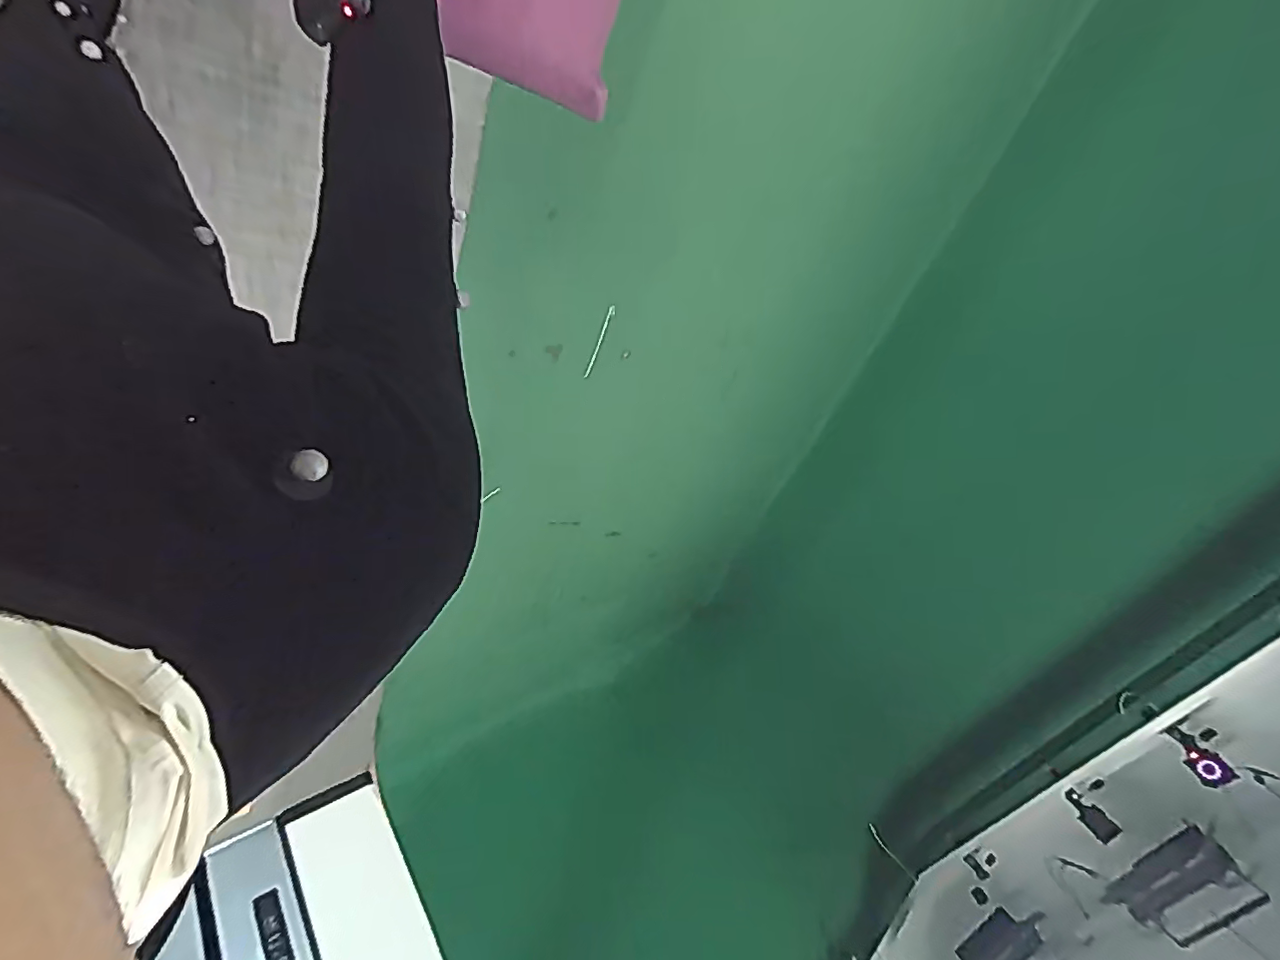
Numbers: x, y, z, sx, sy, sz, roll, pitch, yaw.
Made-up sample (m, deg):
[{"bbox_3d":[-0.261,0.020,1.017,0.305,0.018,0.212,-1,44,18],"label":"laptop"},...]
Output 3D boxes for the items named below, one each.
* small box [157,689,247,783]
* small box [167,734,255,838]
[{"bbox_3d":[-1.327,0.765,1.637,0.179,0.176,0.168,3,126,-49],"label":"small box"},{"bbox_3d":[-1.235,0.869,1.550,0.168,0.176,0.179,1,127,-49],"label":"small box"}]
